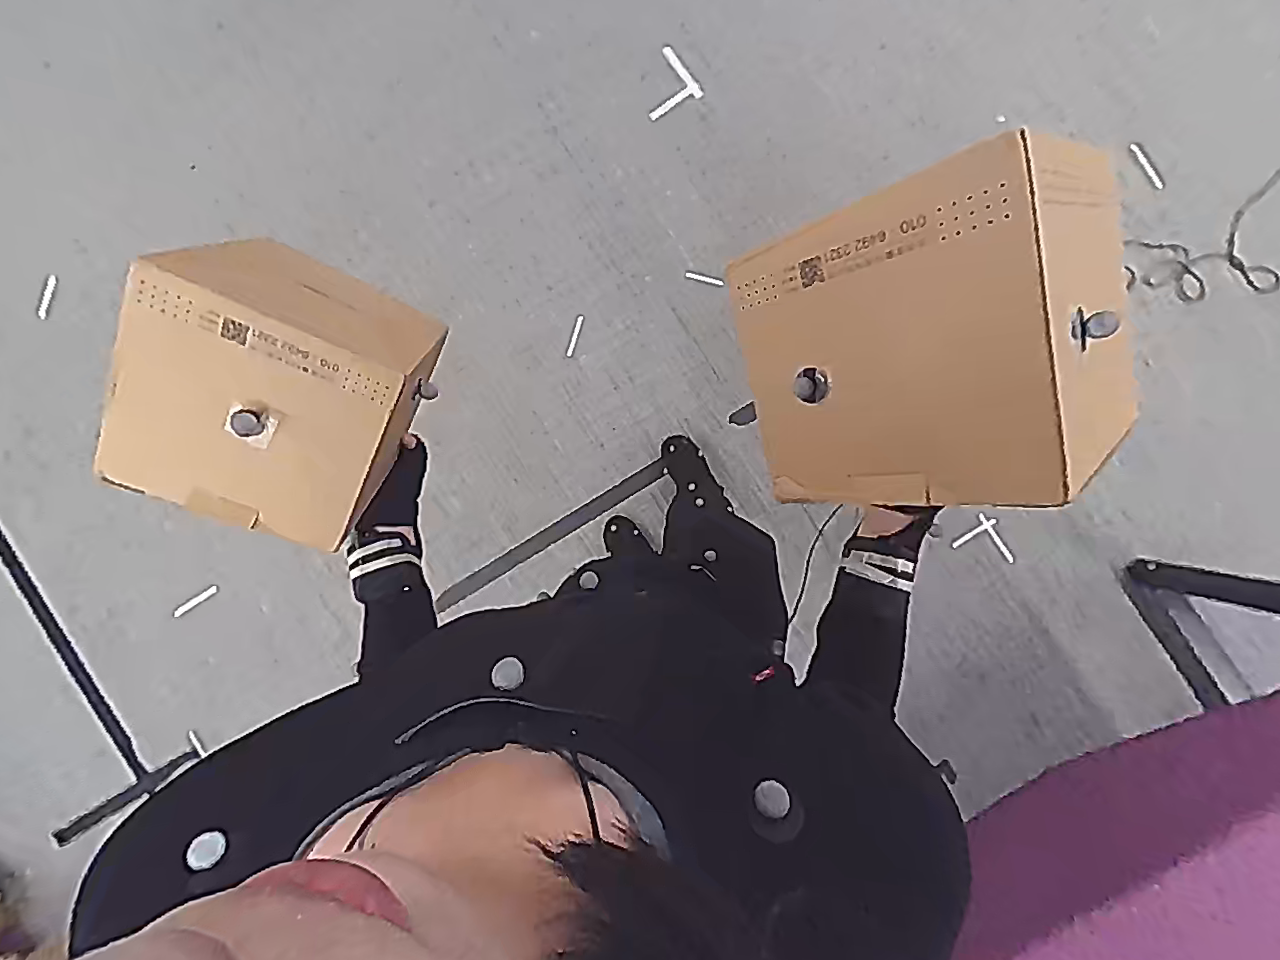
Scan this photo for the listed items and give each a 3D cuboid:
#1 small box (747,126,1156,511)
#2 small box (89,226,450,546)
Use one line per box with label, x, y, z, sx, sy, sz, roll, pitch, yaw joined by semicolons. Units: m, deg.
small box;0.189;-0.088;0.335;0.179;0.168;0.176;-21;103;-37
small box;-0.274;-0.083;0.435;0.168;0.179;0.176;26;111;-19
